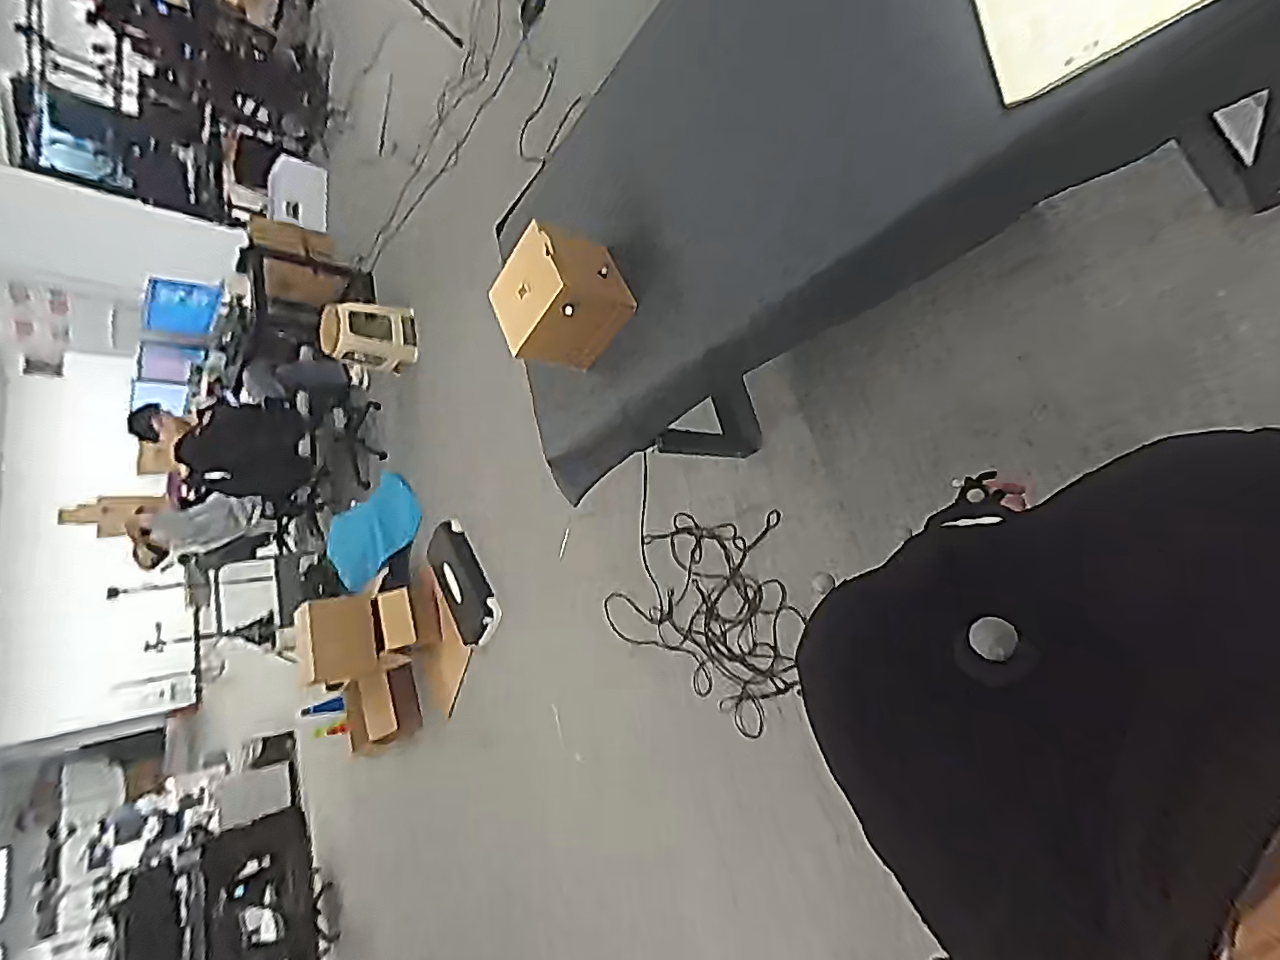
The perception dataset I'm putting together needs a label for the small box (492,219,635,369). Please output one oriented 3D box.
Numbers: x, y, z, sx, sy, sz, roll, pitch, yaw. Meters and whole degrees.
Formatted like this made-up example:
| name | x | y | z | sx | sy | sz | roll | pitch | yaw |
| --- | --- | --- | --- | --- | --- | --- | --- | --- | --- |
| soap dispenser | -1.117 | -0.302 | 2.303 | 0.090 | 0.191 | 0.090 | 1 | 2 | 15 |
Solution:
| name | x | y | z | sx | sy | sz | roll | pitch | yaw |
| --- | --- | --- | --- | --- | --- | --- | --- | --- | --- |
| small box | -0.140 | -0.327 | 0.989 | 0.179 | 0.176 | 0.168 | -43 | 60 | 35 |
